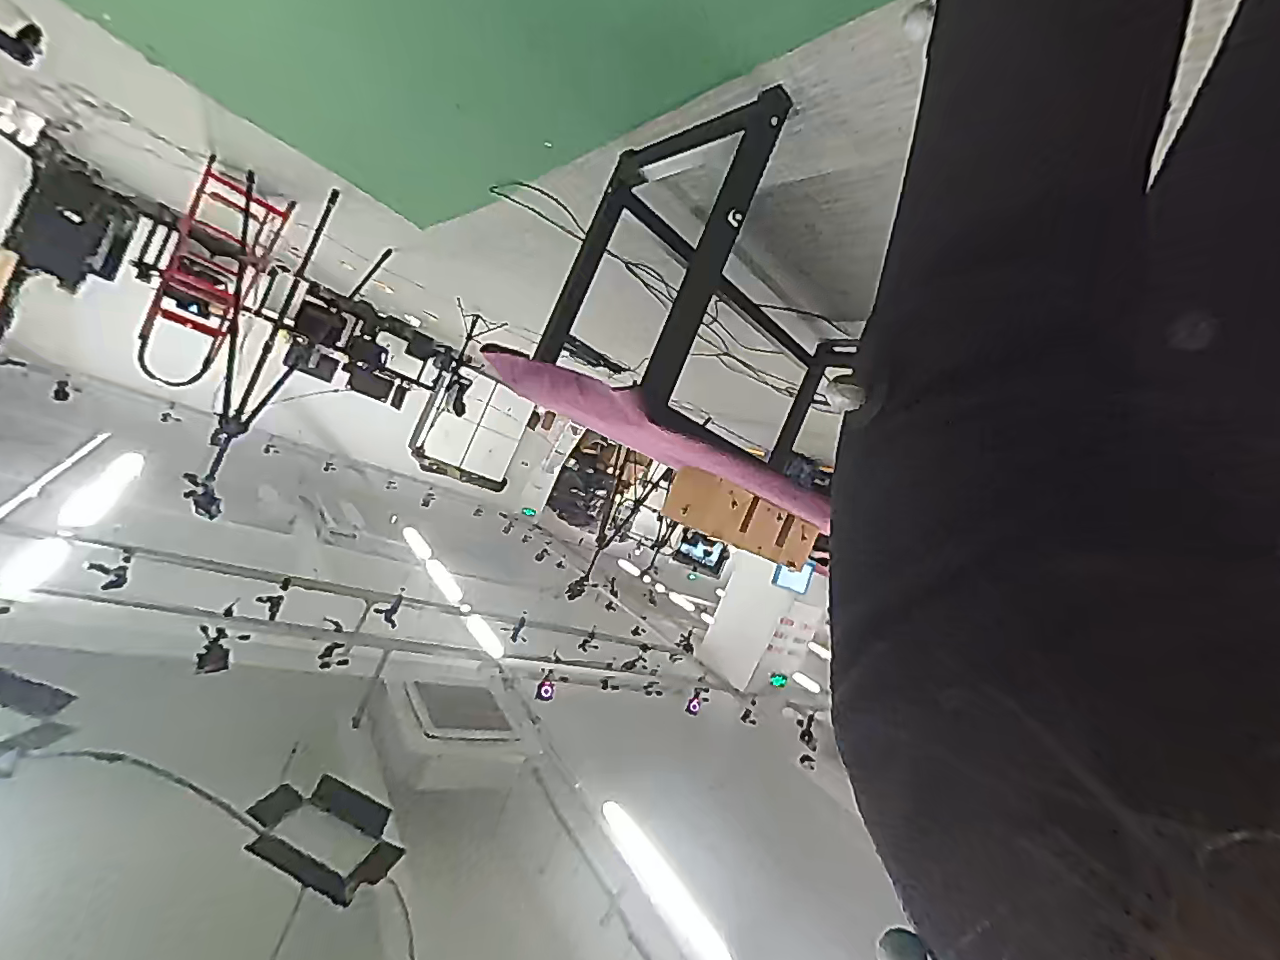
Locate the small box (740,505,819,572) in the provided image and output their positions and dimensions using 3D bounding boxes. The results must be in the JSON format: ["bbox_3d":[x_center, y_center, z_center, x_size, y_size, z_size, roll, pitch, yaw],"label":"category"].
[{"bbox_3d":[0.488,0.198,1.887,0.168,0.176,0.179,24,179,-40],"label":"small box"}]

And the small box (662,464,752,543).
[{"bbox_3d":[0.203,0.065,1.615,0.168,0.176,0.179,25,178,-40],"label":"small box"}]
